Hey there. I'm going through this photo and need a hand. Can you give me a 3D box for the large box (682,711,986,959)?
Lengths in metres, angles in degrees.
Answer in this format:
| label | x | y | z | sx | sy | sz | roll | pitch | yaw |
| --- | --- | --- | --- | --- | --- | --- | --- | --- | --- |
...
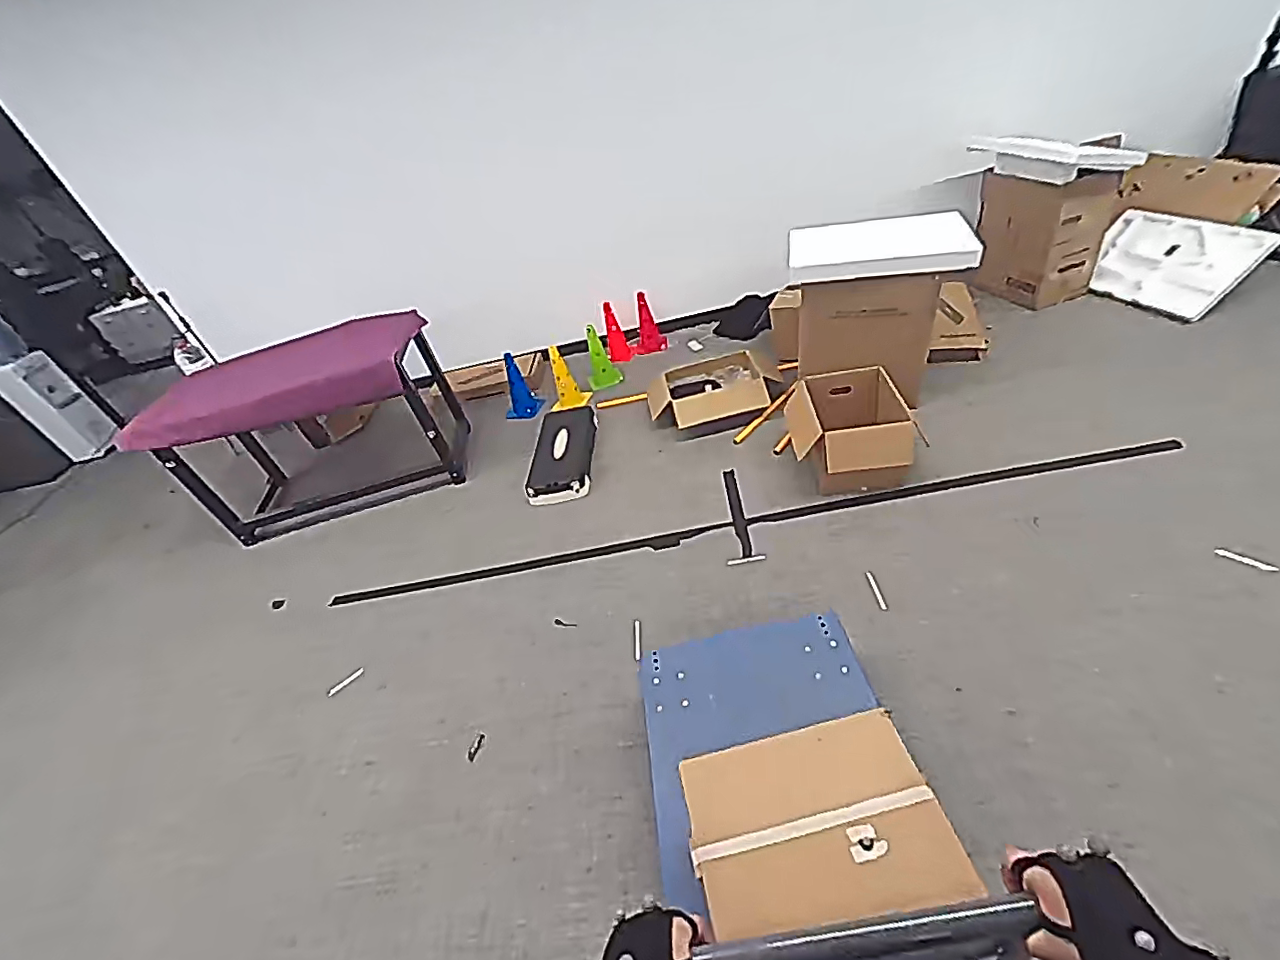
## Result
| label | x | y | z | sx | sy | sz | roll | pitch | yaw |
| --- | --- | --- | --- | --- | --- | --- | --- | --- | --- |
| large box | 0.321 | 0.694 | 0.993 | 0.408 | 0.320 | 0.320 | -15 | 38 | -1 |
